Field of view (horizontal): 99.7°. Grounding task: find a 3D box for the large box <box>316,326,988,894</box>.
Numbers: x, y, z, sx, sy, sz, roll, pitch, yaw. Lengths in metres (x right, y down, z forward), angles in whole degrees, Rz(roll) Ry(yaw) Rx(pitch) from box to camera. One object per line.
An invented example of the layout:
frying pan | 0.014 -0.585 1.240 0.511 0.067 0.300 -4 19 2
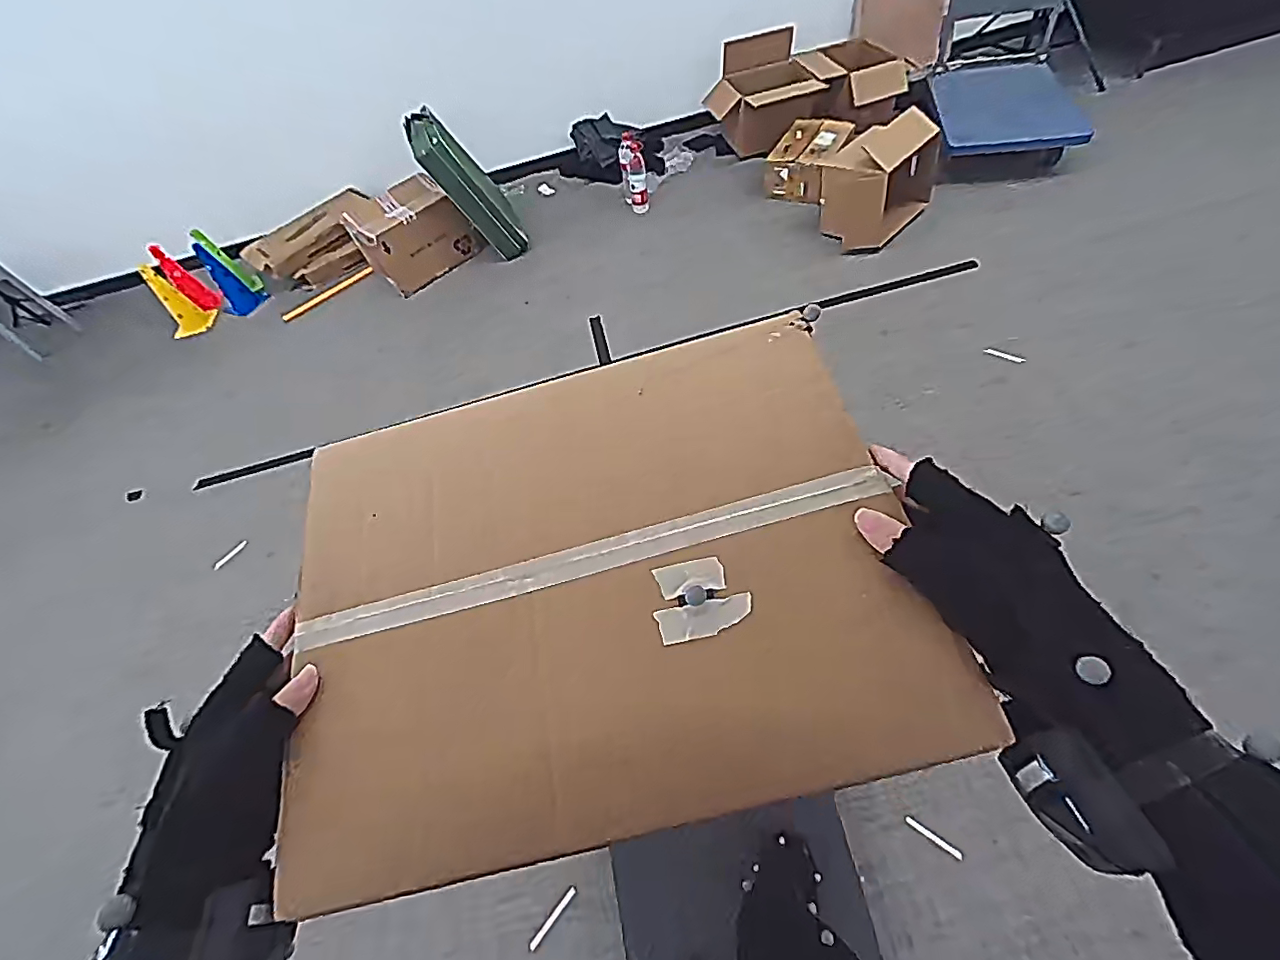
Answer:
large box | -0.006 0.123 0.504 0.408 0.320 0.320 -15 62 2
